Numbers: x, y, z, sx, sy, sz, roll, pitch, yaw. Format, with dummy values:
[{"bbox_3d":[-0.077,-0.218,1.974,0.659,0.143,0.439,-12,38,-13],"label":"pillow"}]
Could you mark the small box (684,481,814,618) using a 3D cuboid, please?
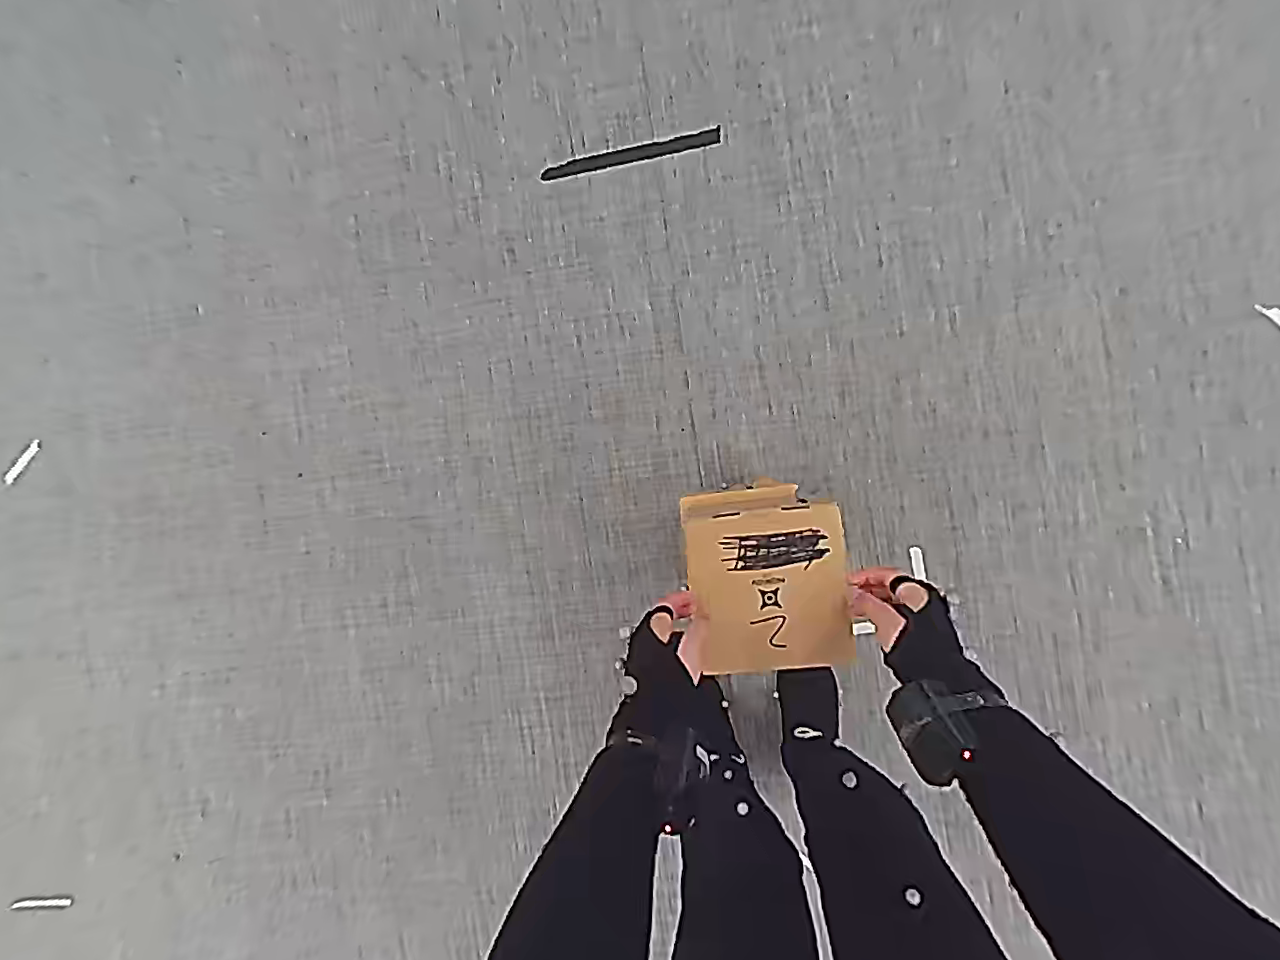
[{"bbox_3d":[0.156,0.097,0.822,0.168,0.176,0.179,-7,90,6],"label":"small box"}]
